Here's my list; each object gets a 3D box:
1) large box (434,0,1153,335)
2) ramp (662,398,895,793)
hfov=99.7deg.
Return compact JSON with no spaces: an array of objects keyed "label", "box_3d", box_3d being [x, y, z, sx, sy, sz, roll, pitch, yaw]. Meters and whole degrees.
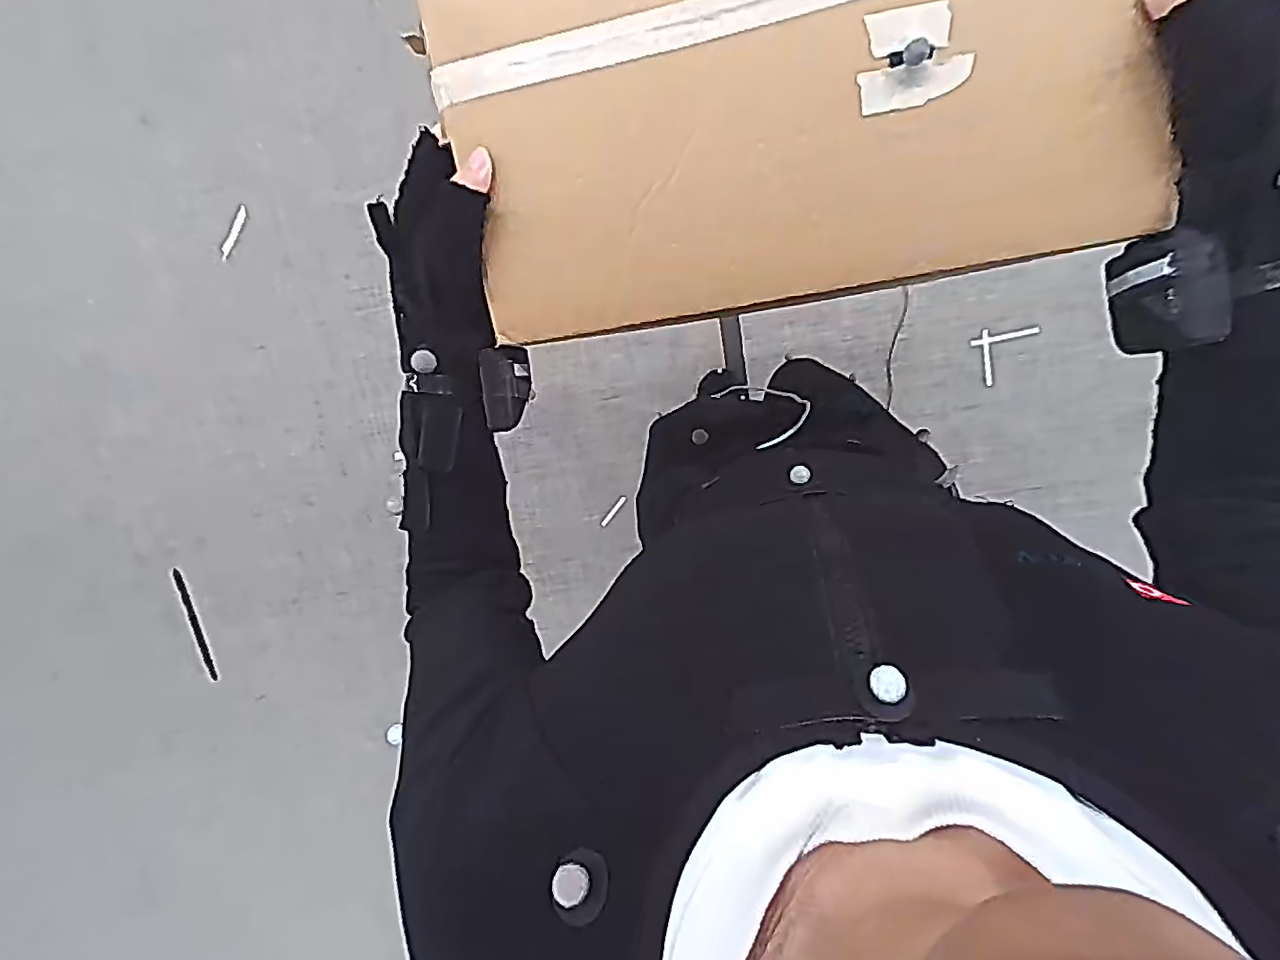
[{"label":"large box","box_3d":[0.090,-0.314,0.455,0.408,0.320,0.320,-8,105,9]},{"label":"ramp","box_3d":[0.348,0.310,1.417,0.509,0.206,0.991,-8,98,10]}]
